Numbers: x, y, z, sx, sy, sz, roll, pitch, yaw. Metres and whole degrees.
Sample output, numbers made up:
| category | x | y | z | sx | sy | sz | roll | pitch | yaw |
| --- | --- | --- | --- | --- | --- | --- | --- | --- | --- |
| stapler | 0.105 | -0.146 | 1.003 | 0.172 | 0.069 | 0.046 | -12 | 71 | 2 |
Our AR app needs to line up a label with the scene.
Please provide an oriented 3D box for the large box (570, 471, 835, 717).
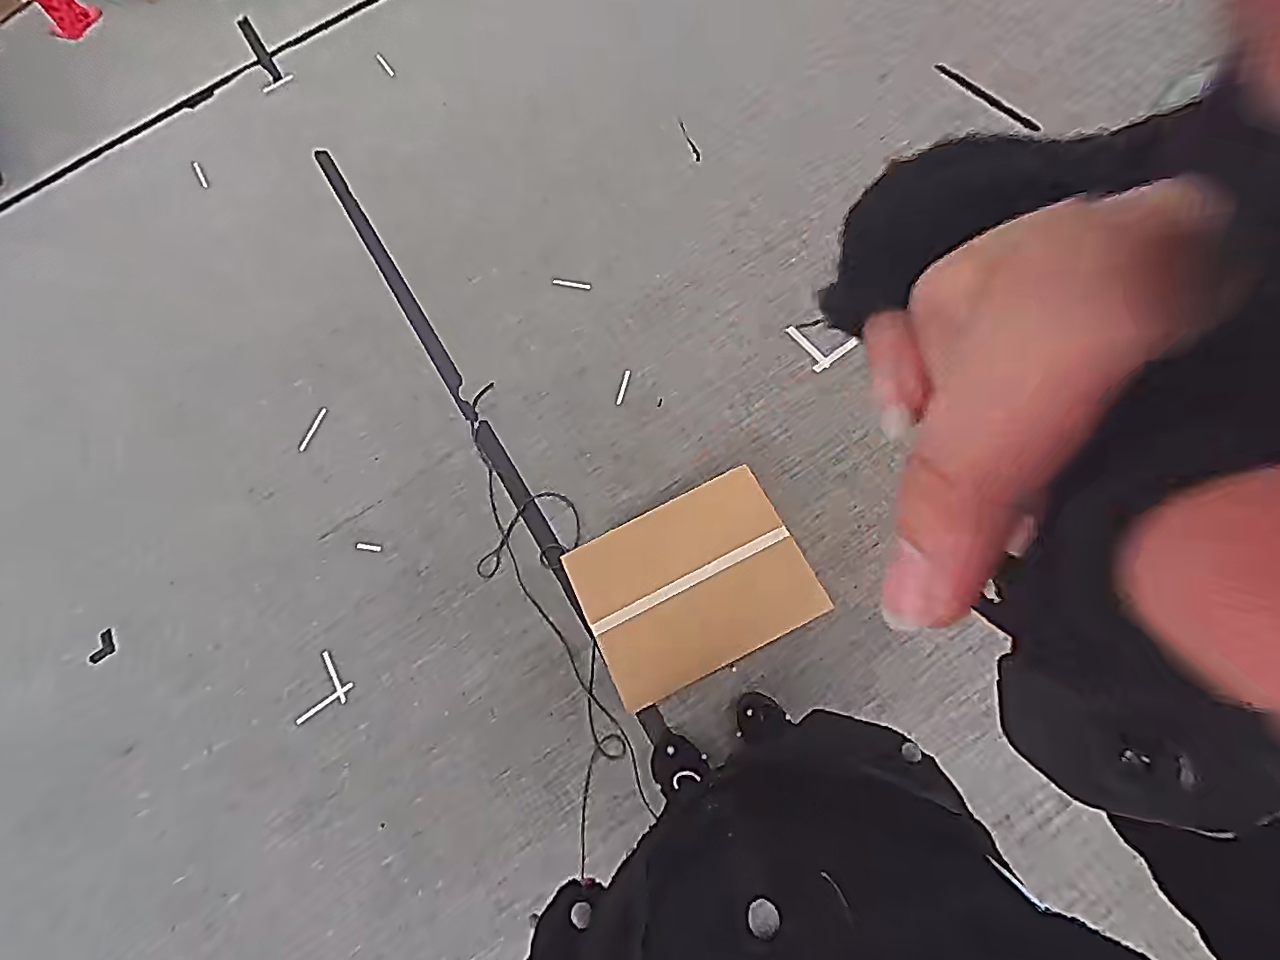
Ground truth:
| category | x | y | z | sx | sy | sz | roll | pitch | yaw |
| --- | --- | --- | --- | --- | --- | --- | --- | --- | --- |
| large box | 0.122 | 0.248 | 1.129 | 0.408 | 0.320 | 0.320 | -27 | 70 | -2 |
